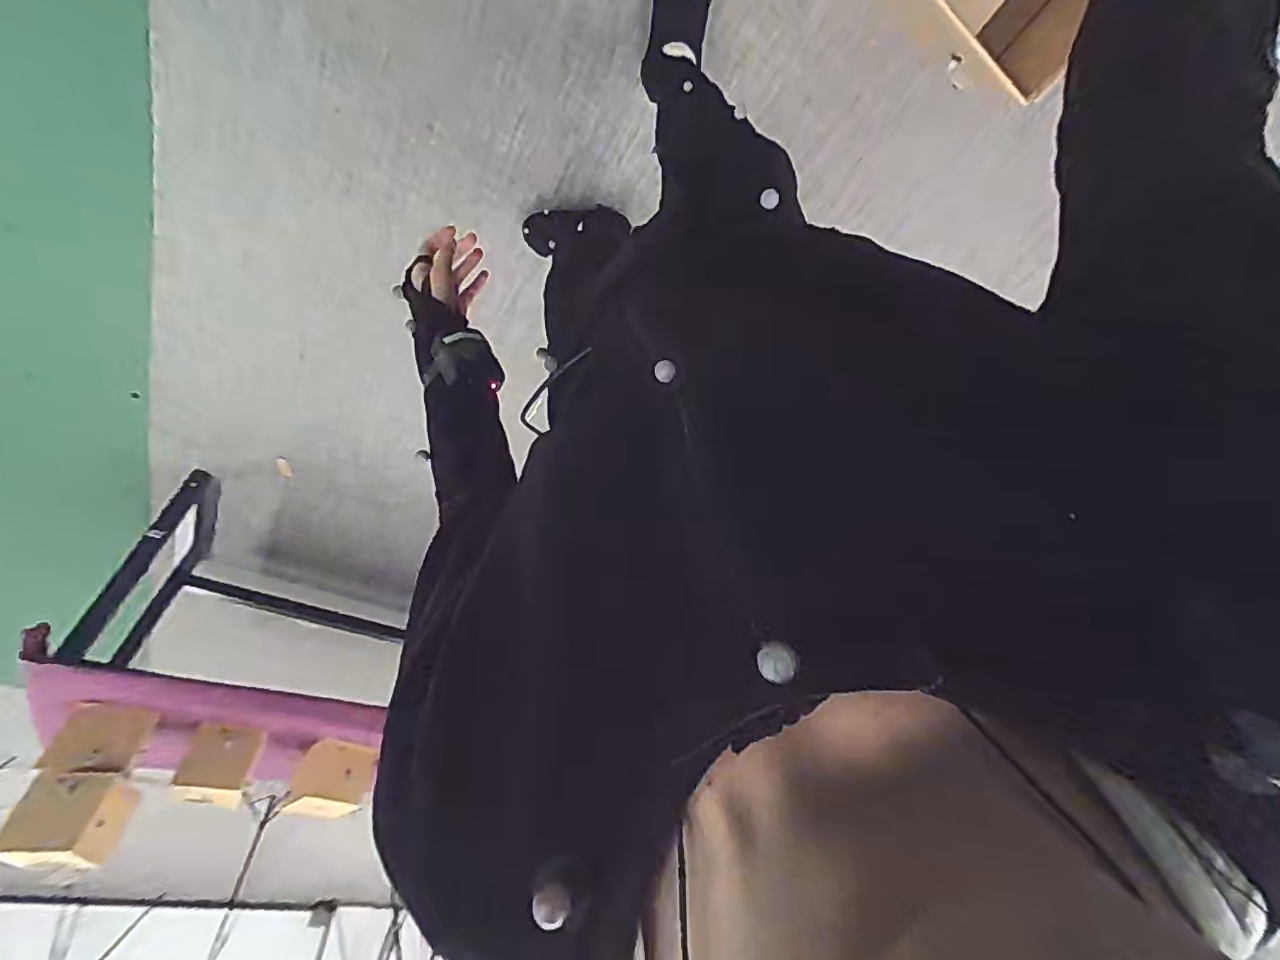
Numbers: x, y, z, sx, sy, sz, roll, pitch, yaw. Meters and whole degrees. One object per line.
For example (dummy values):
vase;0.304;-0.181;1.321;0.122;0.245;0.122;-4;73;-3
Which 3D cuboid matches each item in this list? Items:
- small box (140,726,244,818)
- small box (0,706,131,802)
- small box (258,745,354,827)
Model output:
small box;-1.221;0.800;1.481;0.168;0.176;0.179;21;129;-23
small box;-1.430;0.684;1.353;0.179;0.176;0.168;26;128;-27
small box;-0.979;0.906;1.602;0.179;0.176;0.168;-34;128;27
